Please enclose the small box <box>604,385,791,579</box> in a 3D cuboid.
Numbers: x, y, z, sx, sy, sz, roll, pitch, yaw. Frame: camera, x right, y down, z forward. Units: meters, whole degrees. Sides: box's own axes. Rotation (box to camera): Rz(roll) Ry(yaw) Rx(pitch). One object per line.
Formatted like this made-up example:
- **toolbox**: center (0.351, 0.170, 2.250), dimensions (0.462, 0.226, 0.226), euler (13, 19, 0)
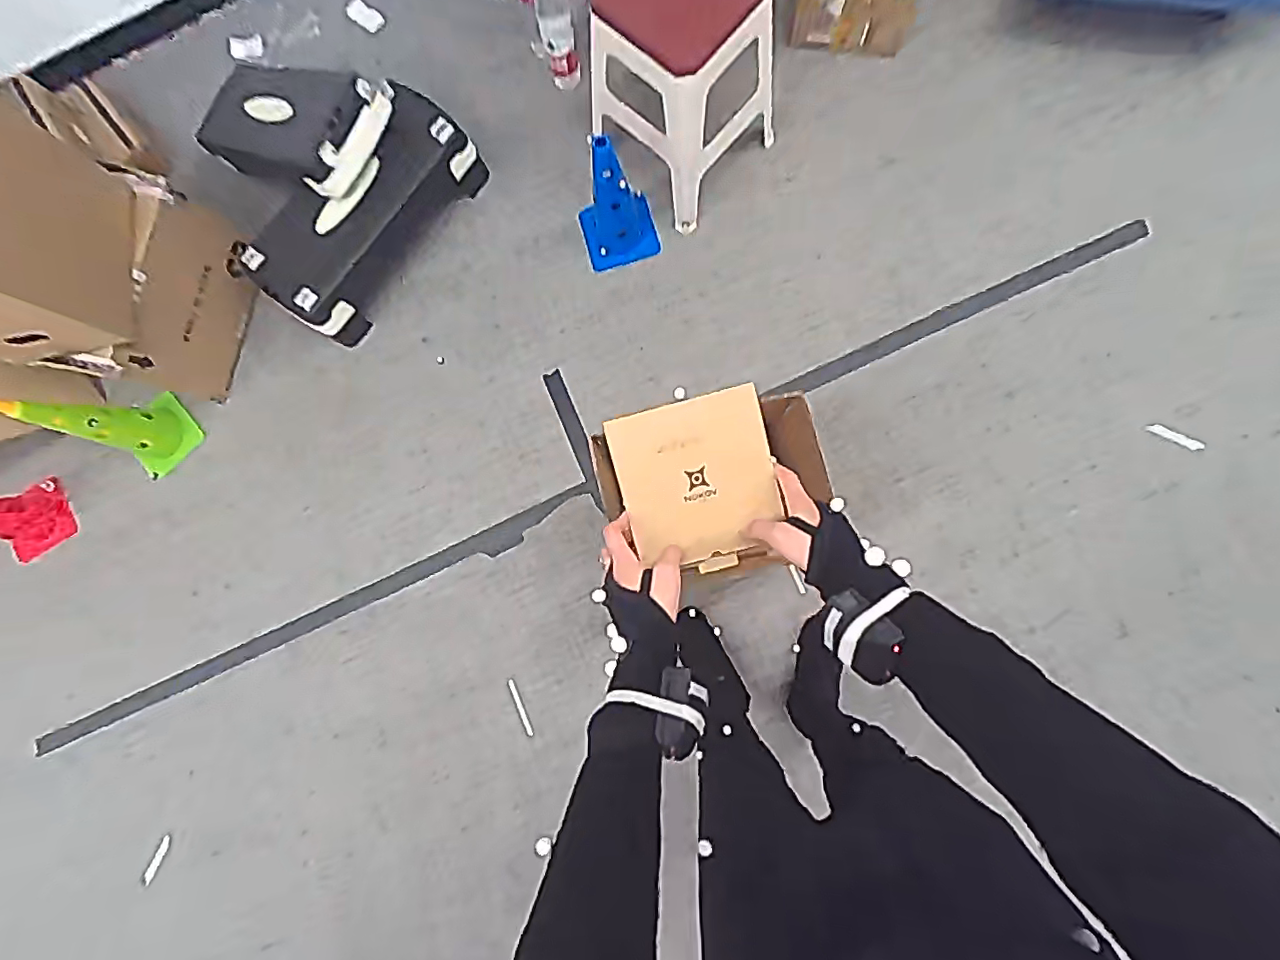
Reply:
- **small box**: center (0.061, -0.006, 0.640), dimensions (0.168, 0.176, 0.179), euler (-15, 96, 0)
